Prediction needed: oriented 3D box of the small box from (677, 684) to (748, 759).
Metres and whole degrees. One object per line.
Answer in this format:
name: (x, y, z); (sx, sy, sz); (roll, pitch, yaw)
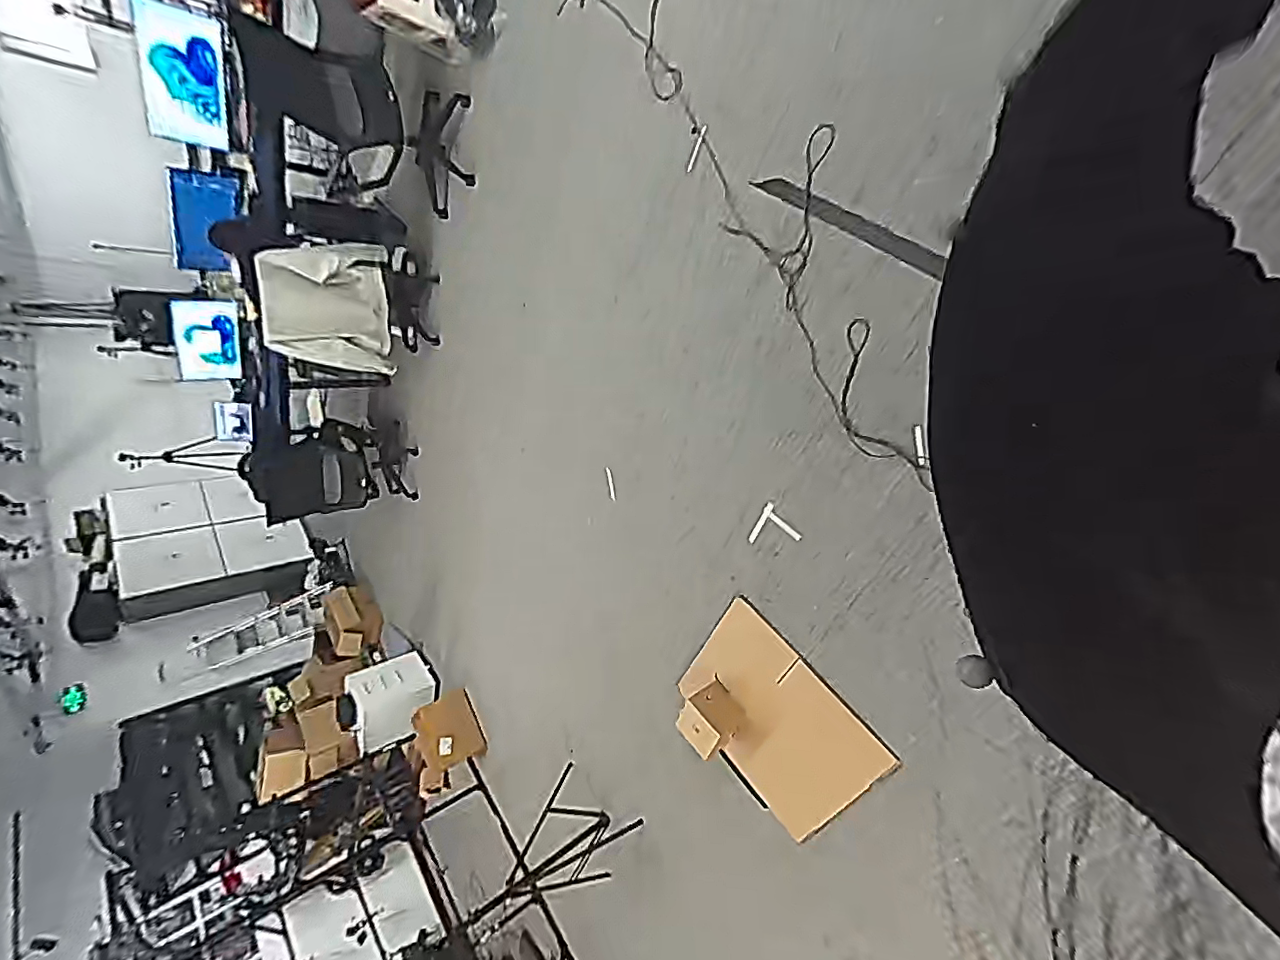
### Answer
small box: (0.275, 0.903, 2.048); (0.179, 0.176, 0.168); (40, 127, 33)
